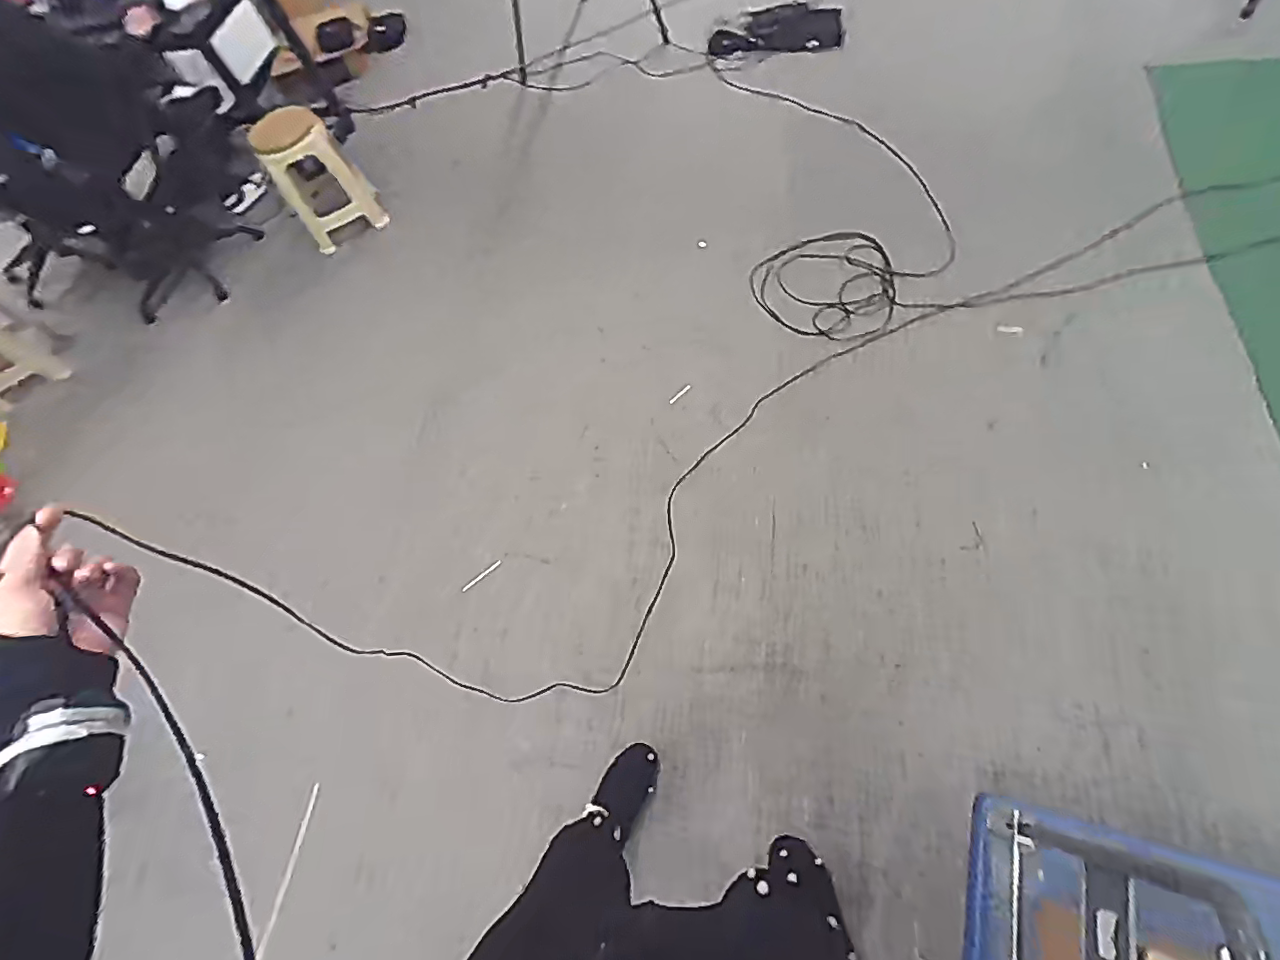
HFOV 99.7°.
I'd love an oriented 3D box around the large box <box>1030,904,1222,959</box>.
[{"bbox_3d":[0.860,0.886,0.777,0.408,0.320,0.320,10,66,15],"label":"large box"}]
